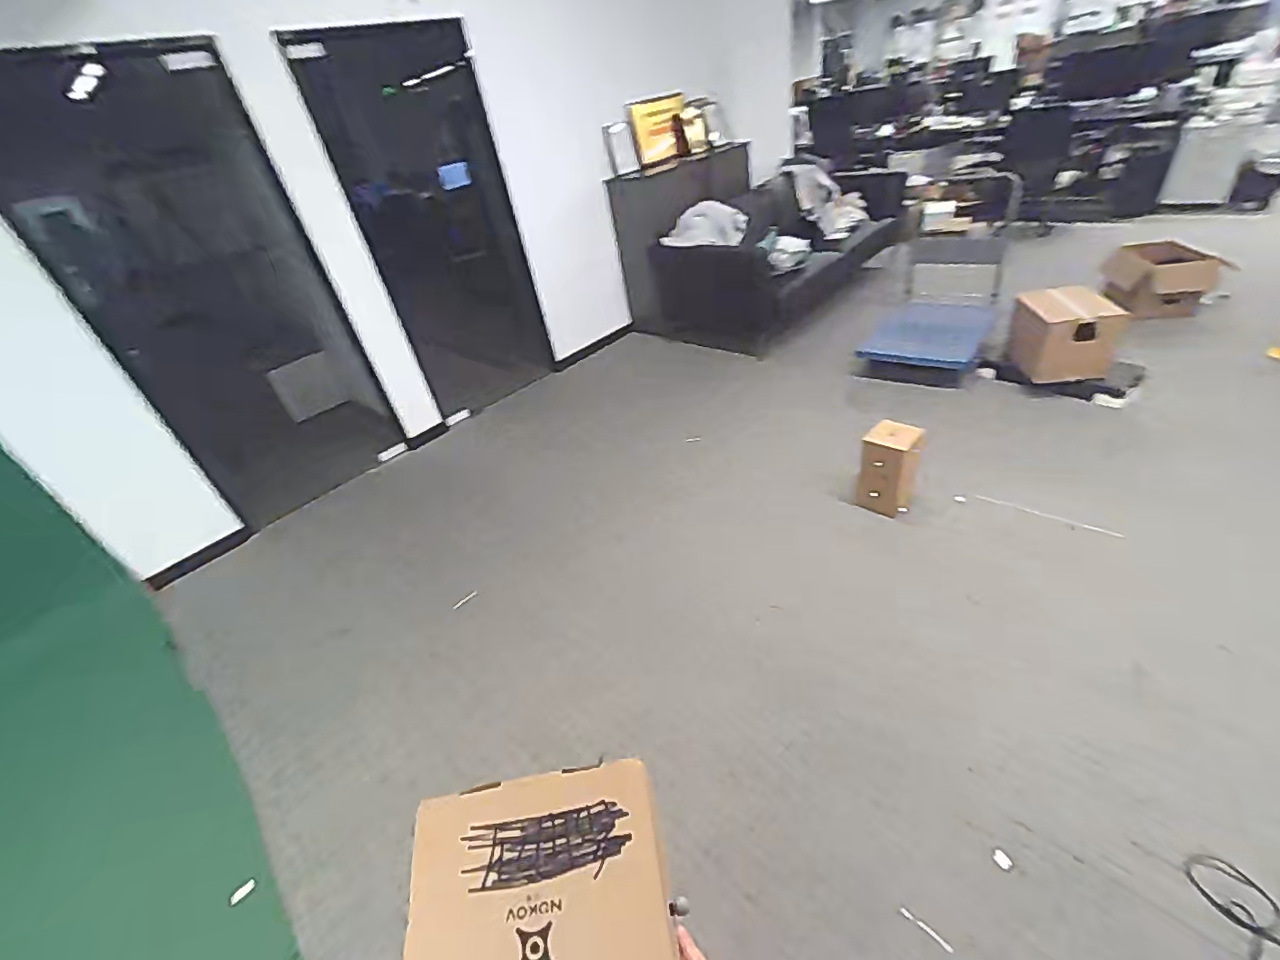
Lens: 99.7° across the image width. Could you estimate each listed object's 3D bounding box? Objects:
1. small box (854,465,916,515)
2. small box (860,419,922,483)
[{"bbox_3d":[0.999,0.020,2.212,0.179,0.176,0.168,23,48,41],"label":"small box"},{"bbox_3d":[0.977,-0.112,2.115,0.179,0.176,0.168,-36,42,-30],"label":"small box"}]
